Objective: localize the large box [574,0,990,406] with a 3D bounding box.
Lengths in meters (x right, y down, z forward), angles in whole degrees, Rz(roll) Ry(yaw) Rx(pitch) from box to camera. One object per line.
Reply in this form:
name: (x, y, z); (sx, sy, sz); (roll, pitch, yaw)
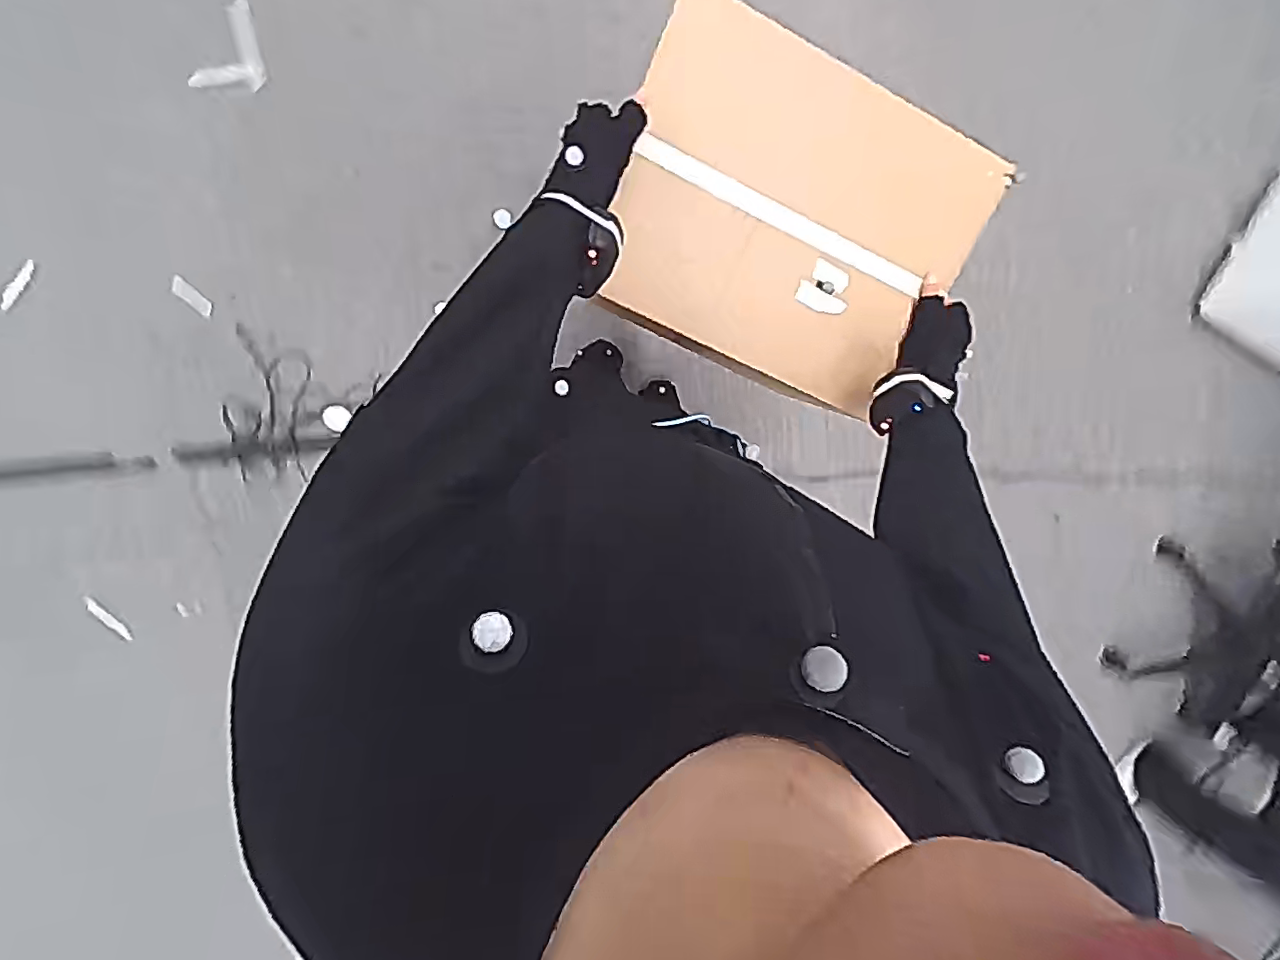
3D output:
large box: (0.147, -0.334, 0.756); (0.408, 0.320, 0.320); (21, 104, -10)
